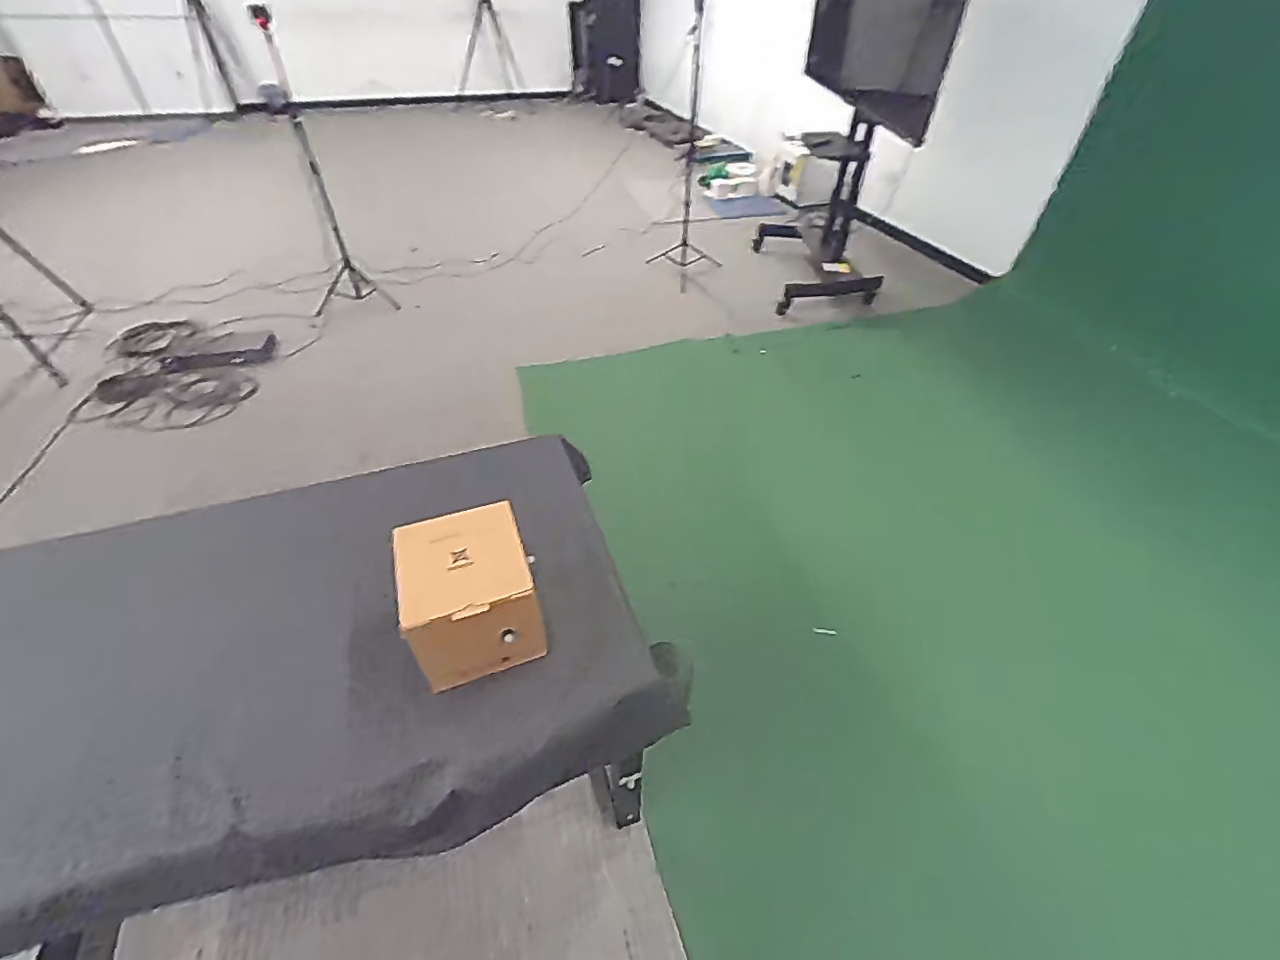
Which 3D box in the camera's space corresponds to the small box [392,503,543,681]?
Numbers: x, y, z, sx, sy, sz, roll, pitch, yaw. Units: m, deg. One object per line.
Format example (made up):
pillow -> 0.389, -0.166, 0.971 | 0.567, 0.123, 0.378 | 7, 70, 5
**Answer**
small box -> -0.247, 0.167, 0.788 | 0.168, 0.176, 0.179 | -15, 44, -17
